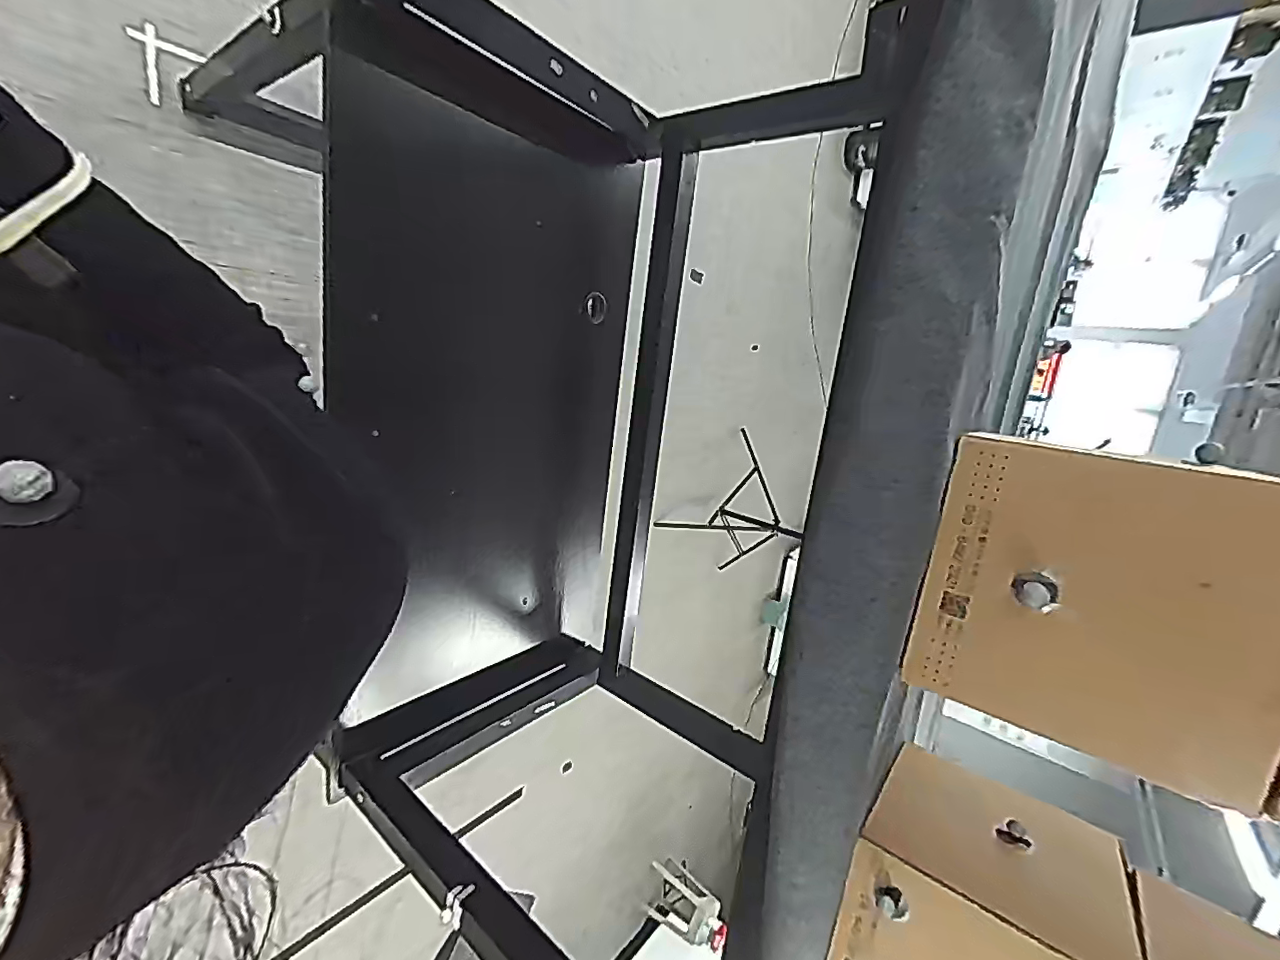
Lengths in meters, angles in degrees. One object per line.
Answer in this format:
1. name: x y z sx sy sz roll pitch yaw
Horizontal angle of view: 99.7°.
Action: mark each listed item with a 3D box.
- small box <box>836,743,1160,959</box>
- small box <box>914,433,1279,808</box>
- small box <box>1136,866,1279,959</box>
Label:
1. small box: 0.270 0.352 0.432 0.179 0.176 0.168 -3 105 -54
2. small box: 0.305 0.062 0.366 0.179 0.176 0.168 -7 108 -54
3. small box: 0.378 0.390 0.312 0.179 0.176 0.168 -13 114 -52
